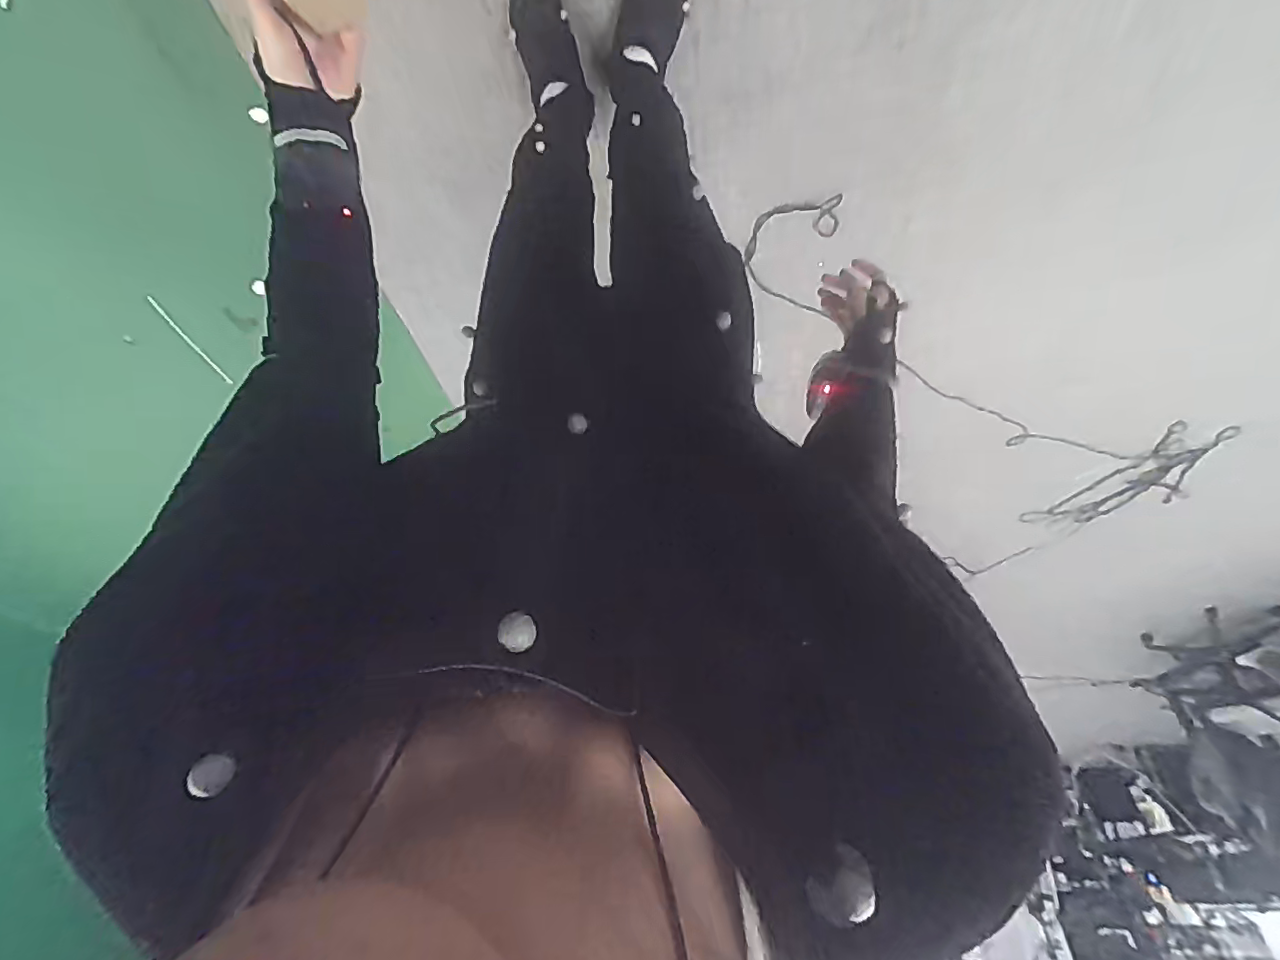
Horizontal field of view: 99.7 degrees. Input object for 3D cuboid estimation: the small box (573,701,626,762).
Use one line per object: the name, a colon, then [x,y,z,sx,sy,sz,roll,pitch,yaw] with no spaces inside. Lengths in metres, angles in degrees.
small box: [-0.140,0.888,1.915,0.168,0.176,0.179,-2,143,4]
